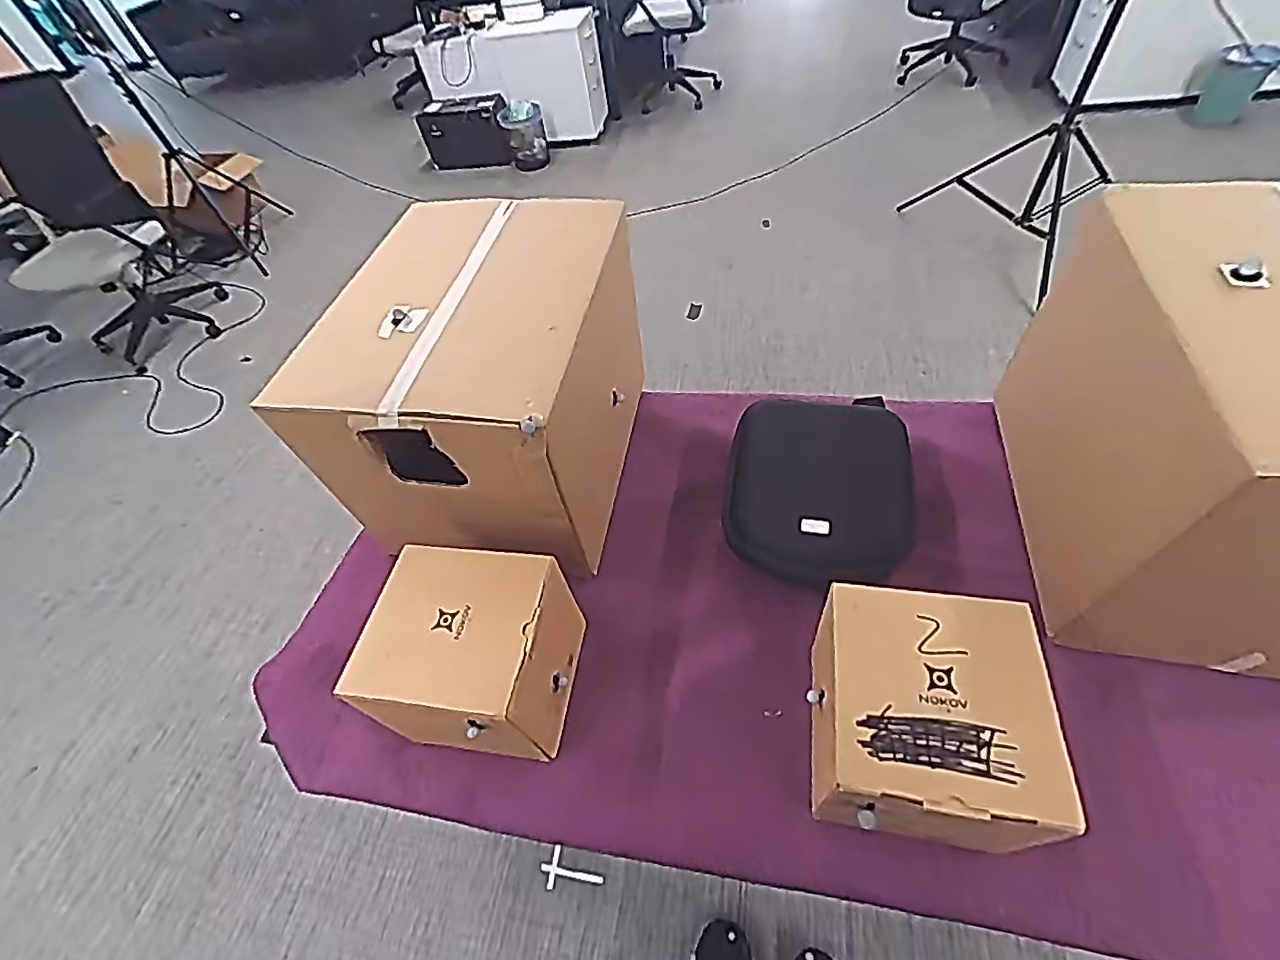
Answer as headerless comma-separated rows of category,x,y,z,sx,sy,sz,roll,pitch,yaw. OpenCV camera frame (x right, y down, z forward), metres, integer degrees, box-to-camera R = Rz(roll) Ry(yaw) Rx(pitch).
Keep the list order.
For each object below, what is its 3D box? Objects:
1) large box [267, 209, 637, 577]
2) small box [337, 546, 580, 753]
large box,-0.190,-0.122,0.754,0.320,0.320,0.408,4,55,10
small box,-0.180,0.190,0.601,0.179,0.176,0.168,2,52,10
